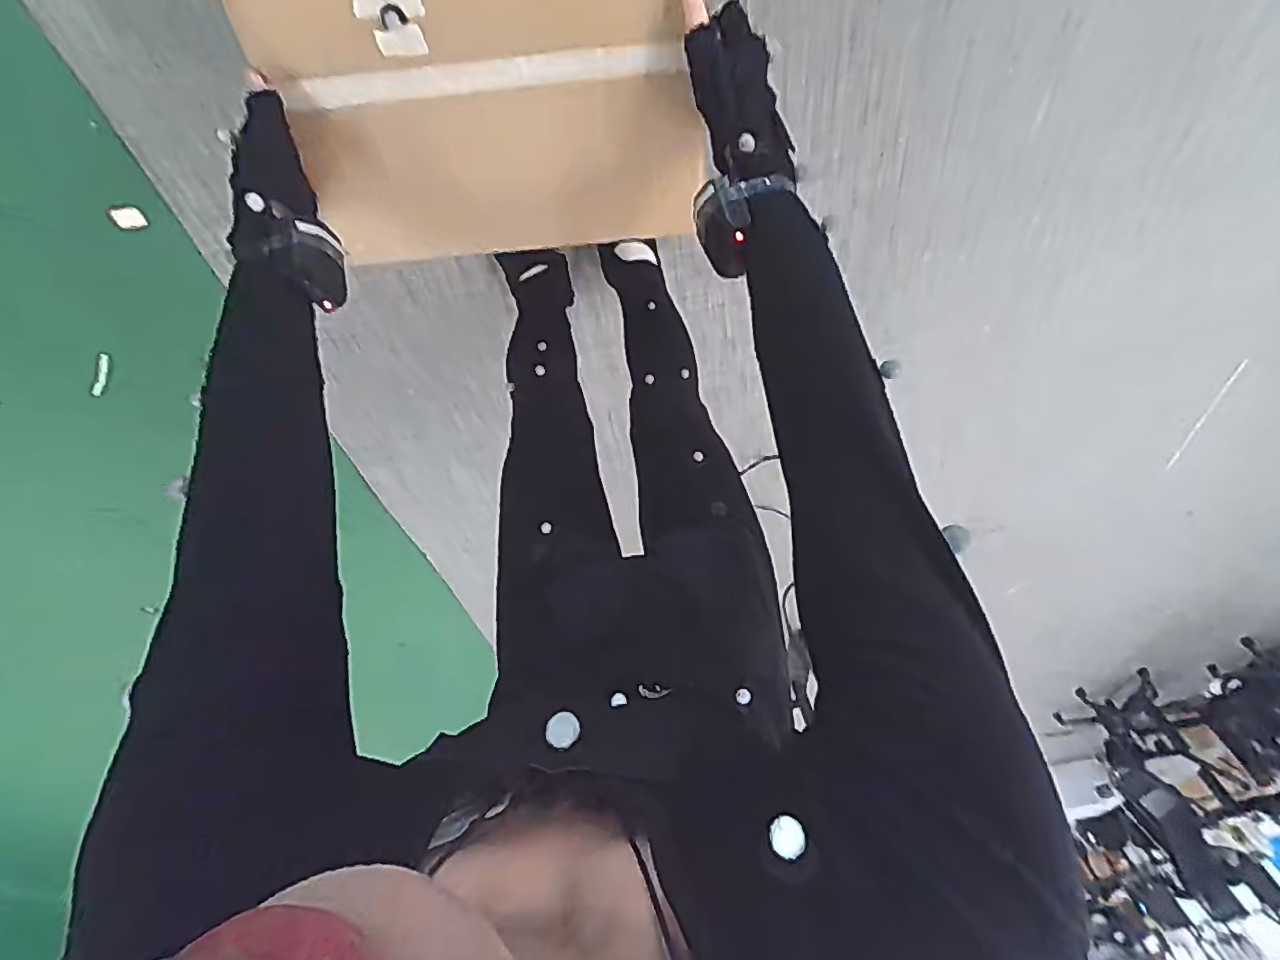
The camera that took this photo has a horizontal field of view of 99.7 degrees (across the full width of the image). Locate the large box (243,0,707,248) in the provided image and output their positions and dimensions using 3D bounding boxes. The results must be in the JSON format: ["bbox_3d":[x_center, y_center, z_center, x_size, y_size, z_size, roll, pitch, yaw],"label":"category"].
[{"bbox_3d":[-0.143,-0.490,0.601,0.408,0.320,0.320,-5,133,1],"label":"large box"}]
